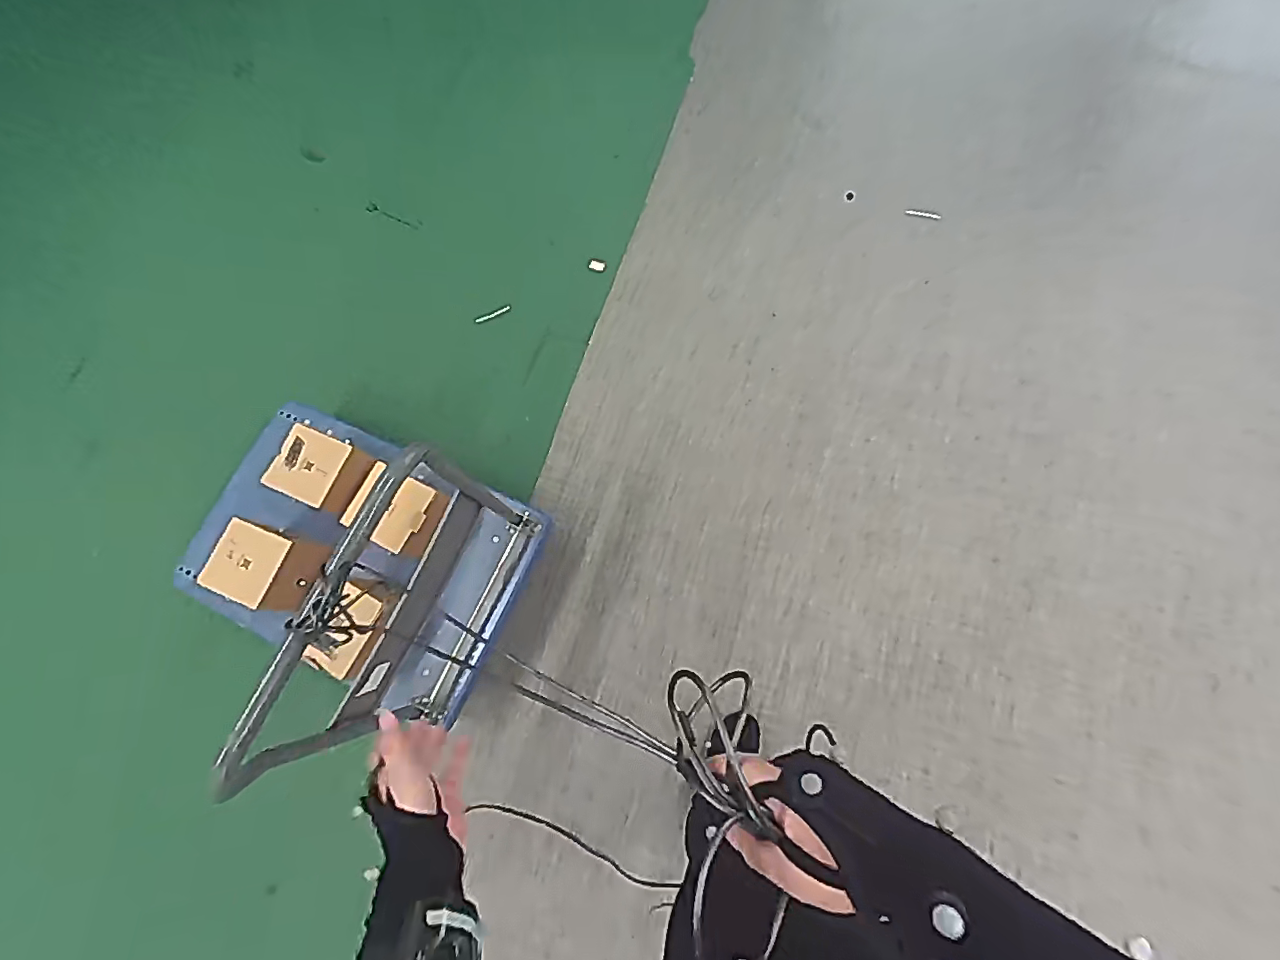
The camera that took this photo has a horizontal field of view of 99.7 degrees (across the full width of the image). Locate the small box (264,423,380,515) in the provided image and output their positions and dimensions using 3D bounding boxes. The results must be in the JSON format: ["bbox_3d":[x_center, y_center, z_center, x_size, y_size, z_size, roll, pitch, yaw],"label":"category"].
[{"bbox_3d":[-0.782,-0.017,1.365,0.179,0.176,0.168,22,79,11],"label":"small box"}]

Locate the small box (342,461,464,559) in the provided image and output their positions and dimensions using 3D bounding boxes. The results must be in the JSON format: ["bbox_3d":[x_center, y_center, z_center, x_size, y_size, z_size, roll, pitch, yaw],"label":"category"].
[{"bbox_3d":[-0.566,0.081,1.315,0.179,0.176,0.168,25,79,12],"label":"small box"}]

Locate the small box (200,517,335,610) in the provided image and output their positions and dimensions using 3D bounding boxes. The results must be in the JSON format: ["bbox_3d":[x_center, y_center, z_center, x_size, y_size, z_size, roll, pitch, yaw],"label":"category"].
[{"bbox_3d":[-0.892,0.208,1.315,0.179,0.176,0.168,20,77,11],"label":"small box"}]
